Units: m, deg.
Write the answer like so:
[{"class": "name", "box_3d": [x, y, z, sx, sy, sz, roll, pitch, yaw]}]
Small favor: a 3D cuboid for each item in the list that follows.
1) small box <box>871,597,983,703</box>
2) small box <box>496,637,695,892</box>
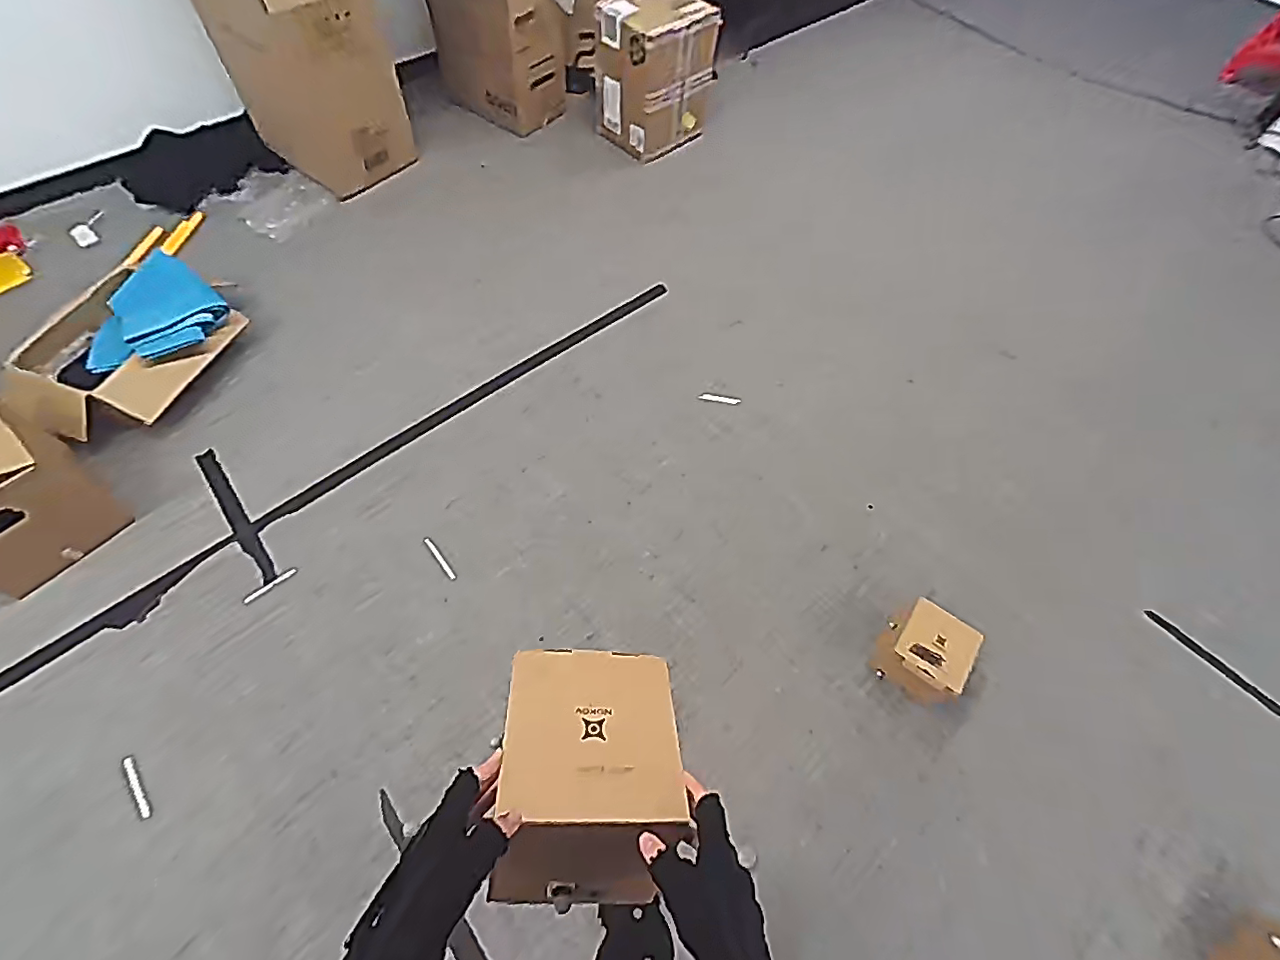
[{"class": "small box", "box_3d": [0.711, 0.433, 1.360, 0.168, 0.176, 0.179, 35, 64, 16]}, {"class": "small box", "box_3d": [-0.054, 0.290, 0.559, 0.168, 0.176, 0.179, 6, 34, -10]}]
